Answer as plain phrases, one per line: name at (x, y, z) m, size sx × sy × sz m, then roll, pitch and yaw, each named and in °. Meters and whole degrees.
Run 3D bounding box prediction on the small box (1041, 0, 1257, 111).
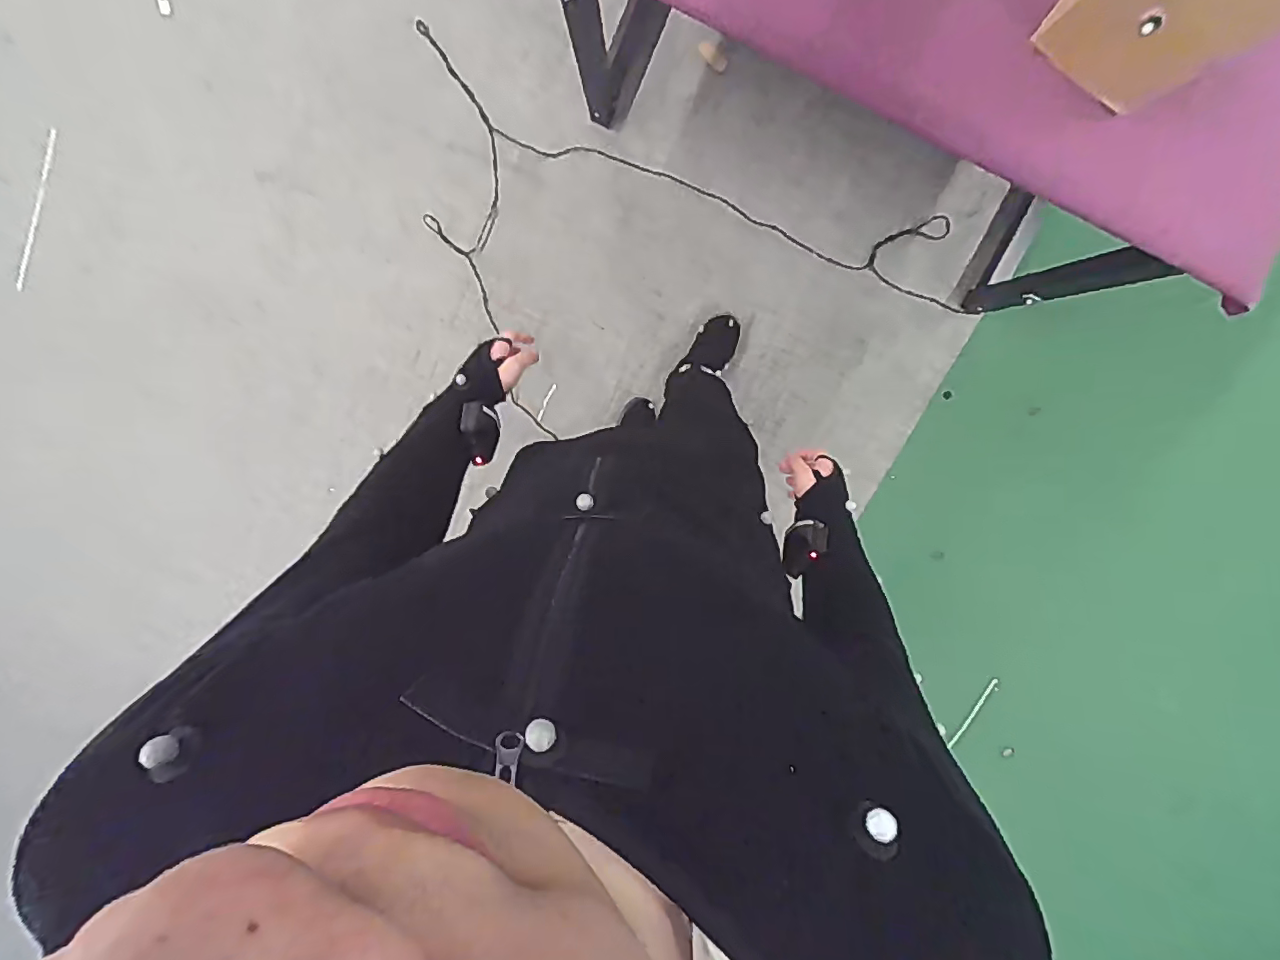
small box at (0.657, -0.606, 0.663) m, size 0.179 × 0.176 × 0.168 m, roll 35°, pitch 100°, yaw -6°
